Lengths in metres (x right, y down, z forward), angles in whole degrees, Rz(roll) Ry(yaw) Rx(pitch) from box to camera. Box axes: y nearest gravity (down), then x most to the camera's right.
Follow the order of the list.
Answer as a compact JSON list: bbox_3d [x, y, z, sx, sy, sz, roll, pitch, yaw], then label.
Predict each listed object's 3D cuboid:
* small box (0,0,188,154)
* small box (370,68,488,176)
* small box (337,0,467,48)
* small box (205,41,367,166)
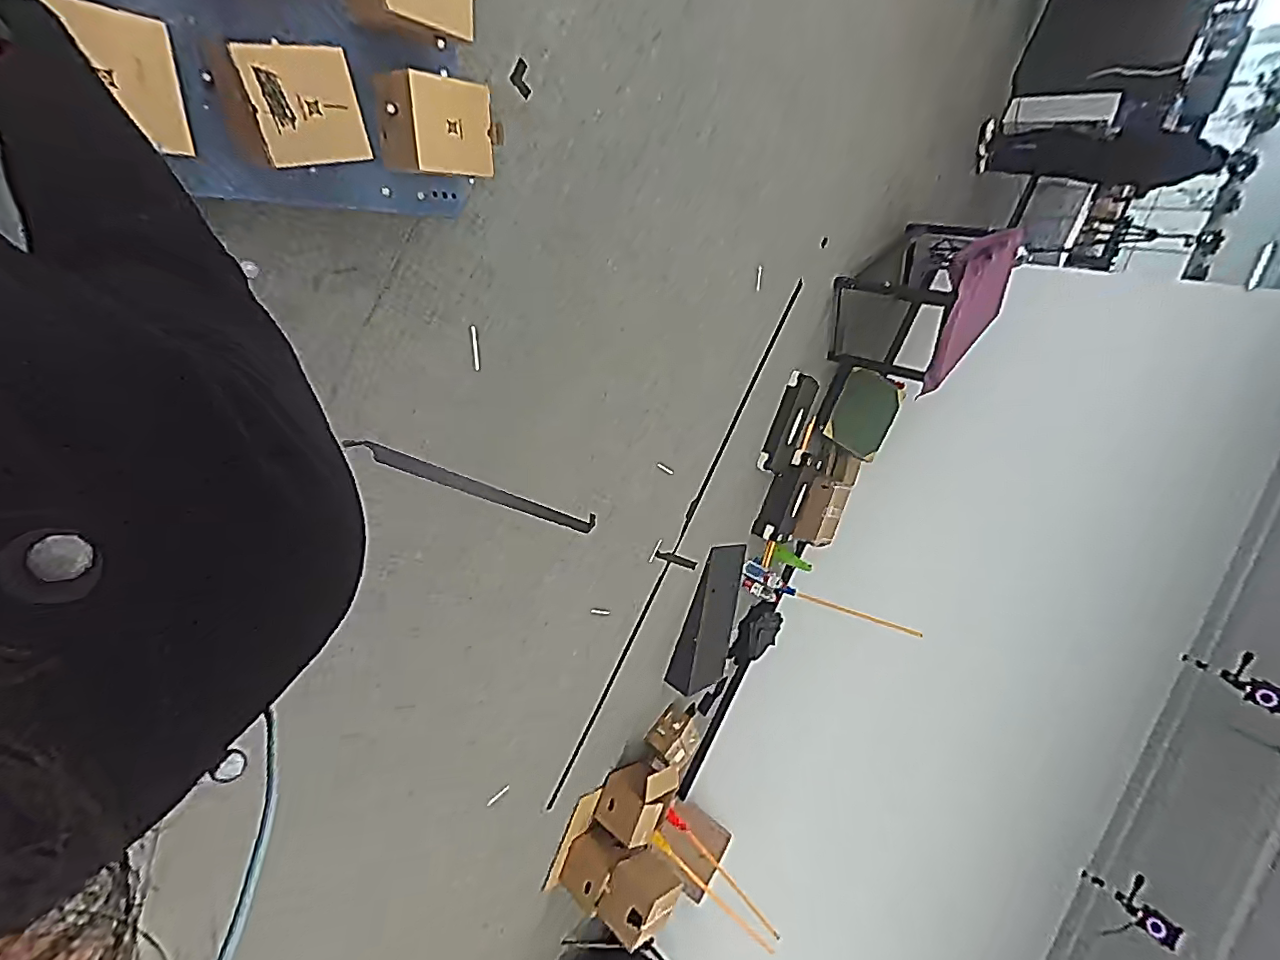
[{"bbox_3d":[-0.800,-0.578,0.781,0.179,0.176,0.168,-21,127,-46],"label":"small box"},{"bbox_3d":[-0.446,-0.742,1.141,0.179,0.176,0.168,-25,128,-43],"label":"small box"},{"bbox_3d":[-0.448,-0.942,1.016,0.179,0.176,0.168,-19,124,-45],"label":"small box"},{"bbox_3d":[-0.627,-0.657,0.956,0.179,0.176,0.168,-34,135,-38],"label":"small box"}]
